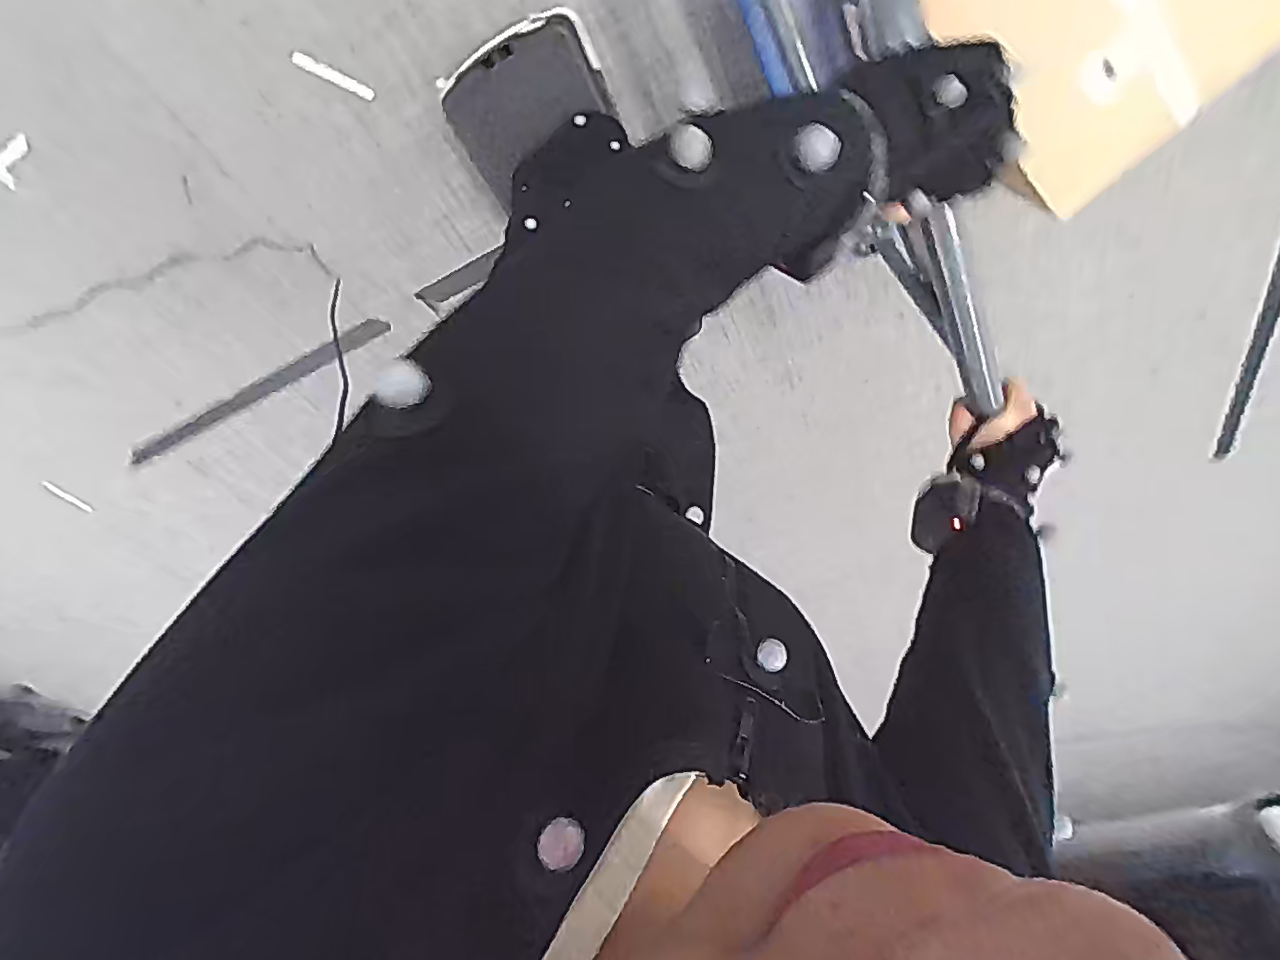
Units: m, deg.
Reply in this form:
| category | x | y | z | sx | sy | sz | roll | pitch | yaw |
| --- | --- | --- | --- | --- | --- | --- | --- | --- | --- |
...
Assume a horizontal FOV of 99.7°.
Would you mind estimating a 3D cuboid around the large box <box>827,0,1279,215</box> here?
| category | x | y | z | sx | sy | sz | roll | pitch | yaw |
| --- | --- | --- | --- | --- | --- | --- | --- | --- | --- |
| large box | 0.514 | -0.645 | 0.703 | 0.408 | 0.320 | 0.320 | 28 | 127 | -28 |
